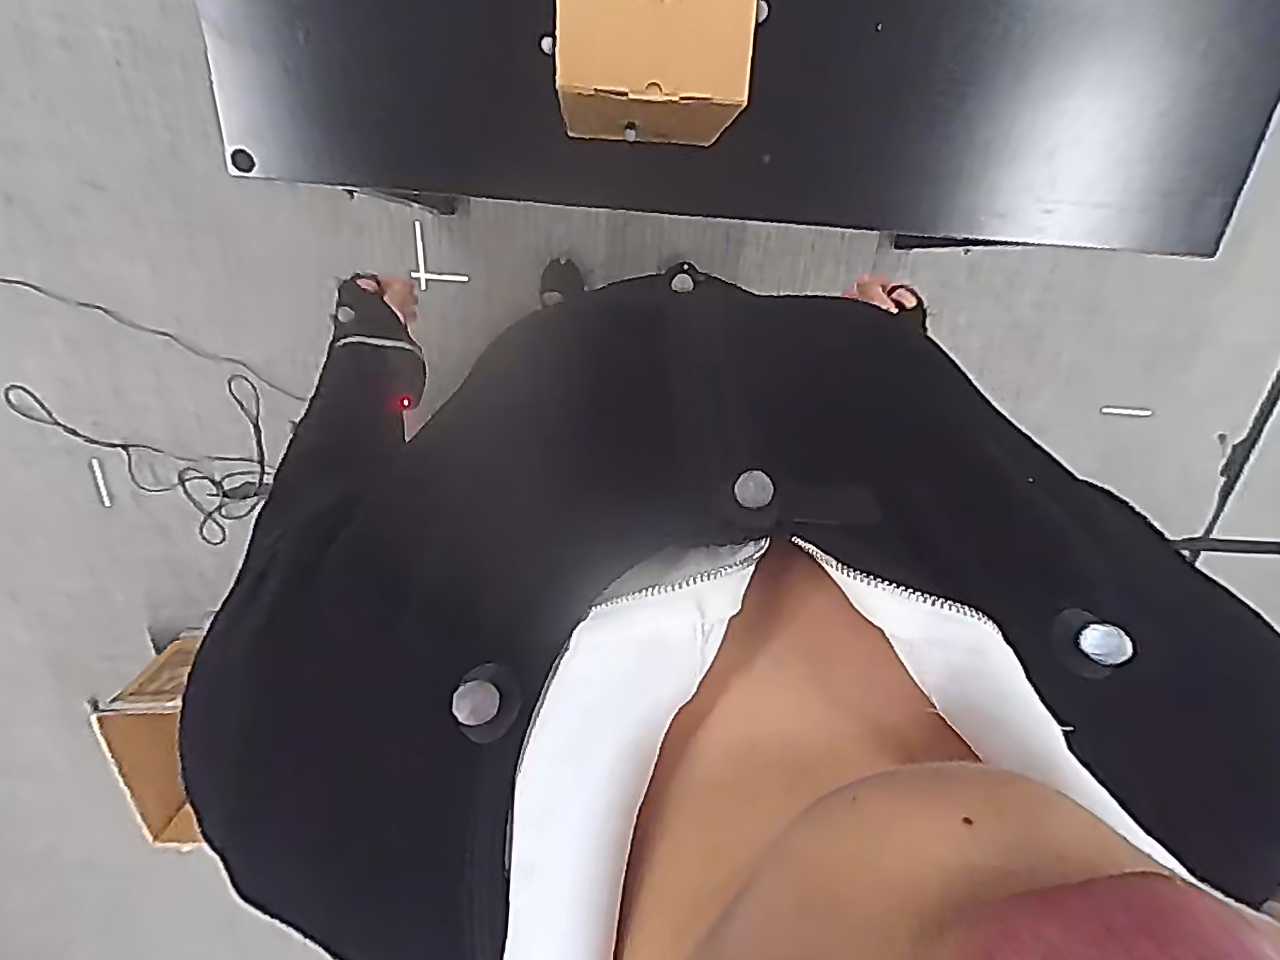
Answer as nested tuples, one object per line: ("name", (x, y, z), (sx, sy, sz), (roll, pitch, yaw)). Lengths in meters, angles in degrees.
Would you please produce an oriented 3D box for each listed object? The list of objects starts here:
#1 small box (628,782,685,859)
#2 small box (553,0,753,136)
("small box", (0.055, 1.206, 1.920), (0.179, 0.176, 0.168), (5, 110, -5))
("small box", (0.006, -0.444, 0.503), (0.168, 0.176, 0.179), (1, 112, -5))
